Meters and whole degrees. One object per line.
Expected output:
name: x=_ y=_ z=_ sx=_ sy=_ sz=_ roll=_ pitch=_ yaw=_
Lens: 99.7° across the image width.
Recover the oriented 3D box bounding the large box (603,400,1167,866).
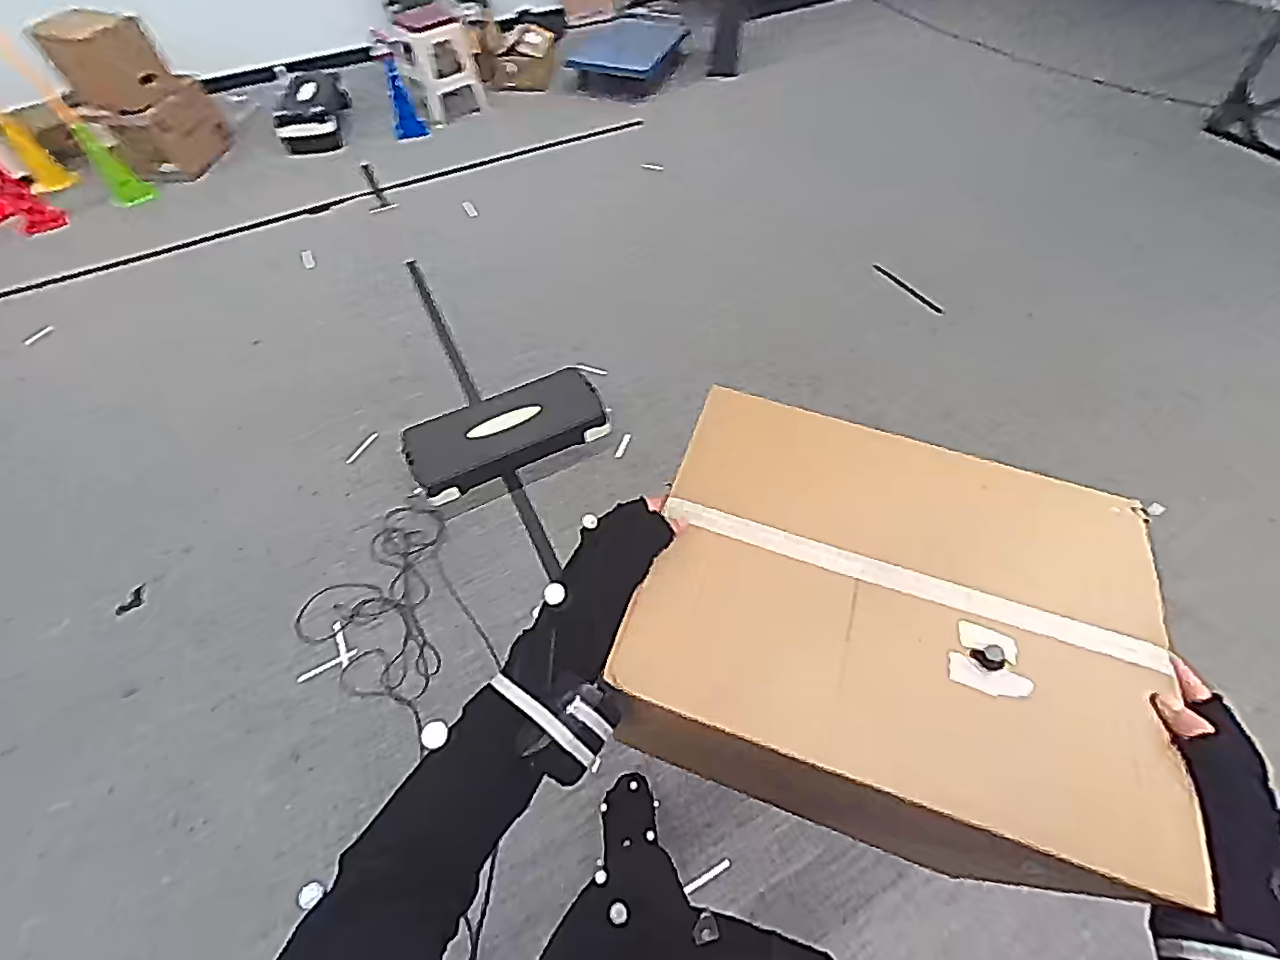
large box: x=0.196 y=0.166 z=0.585 sx=0.408 sy=0.320 sz=0.320 roll=16 pitch=58 yaw=9
